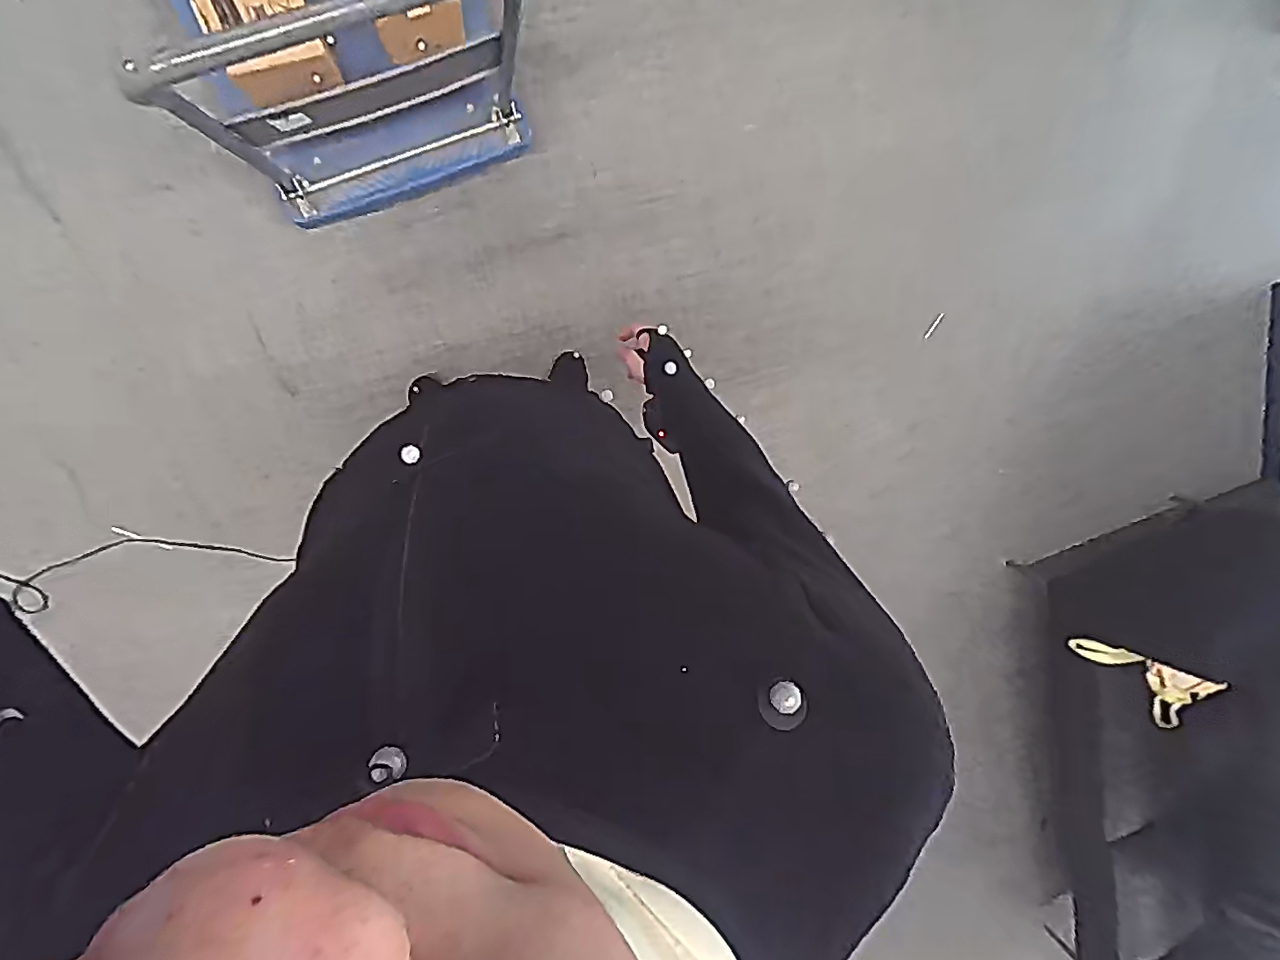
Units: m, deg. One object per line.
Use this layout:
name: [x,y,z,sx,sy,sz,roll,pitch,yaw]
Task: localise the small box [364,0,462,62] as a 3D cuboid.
small box: [-0.465,-0.976,1.060,0.168,0.176,0.179,-23,109,-7]
